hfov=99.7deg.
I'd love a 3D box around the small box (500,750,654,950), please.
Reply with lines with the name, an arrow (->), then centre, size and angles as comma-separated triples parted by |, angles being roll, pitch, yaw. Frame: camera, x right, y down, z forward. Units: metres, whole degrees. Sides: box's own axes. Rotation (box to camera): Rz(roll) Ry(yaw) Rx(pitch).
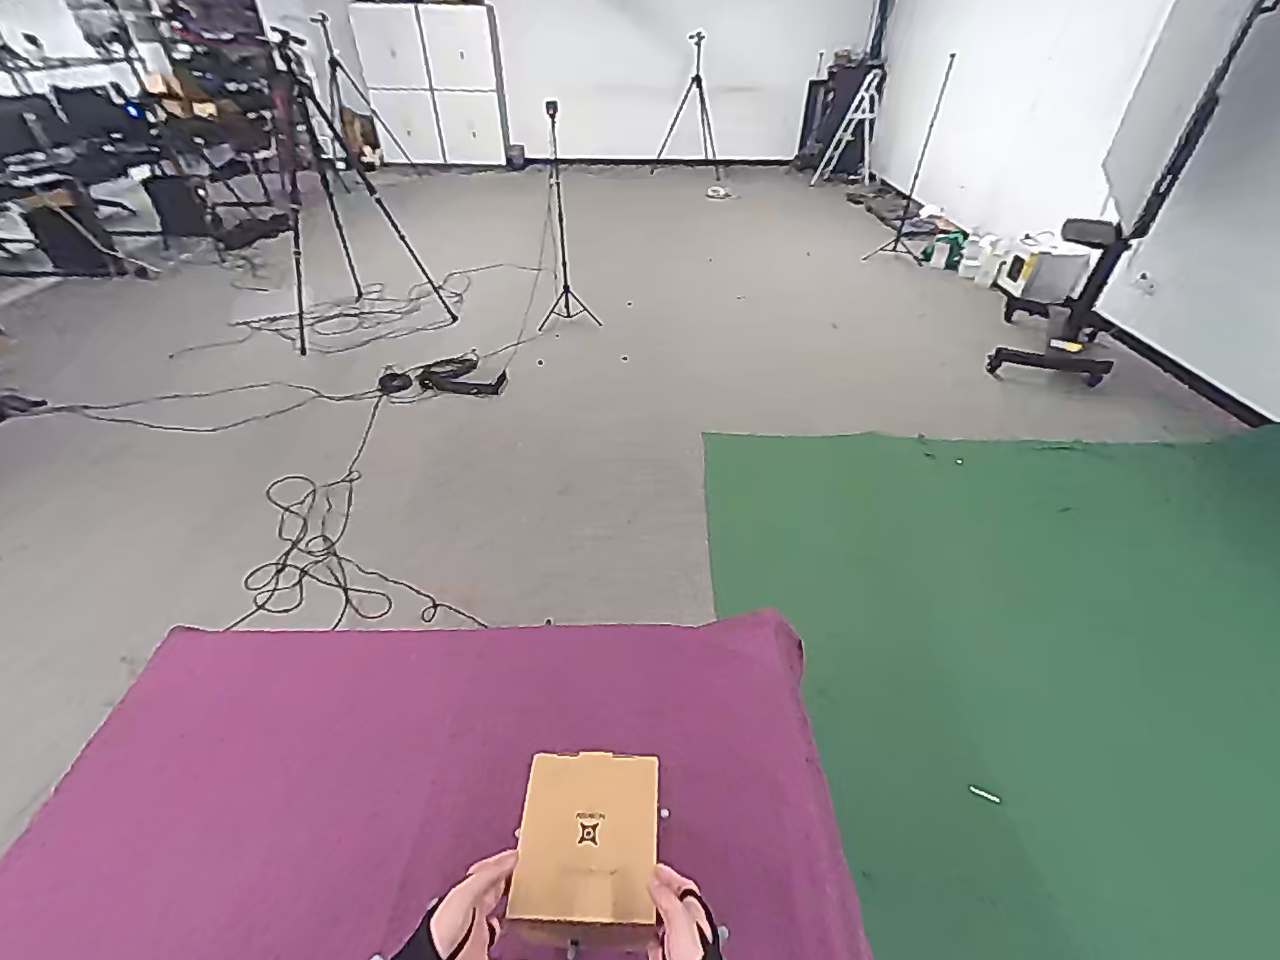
small box -> -0.068, 0.476, 0.699 | 0.168, 0.176, 0.179 | 1, 42, 3
